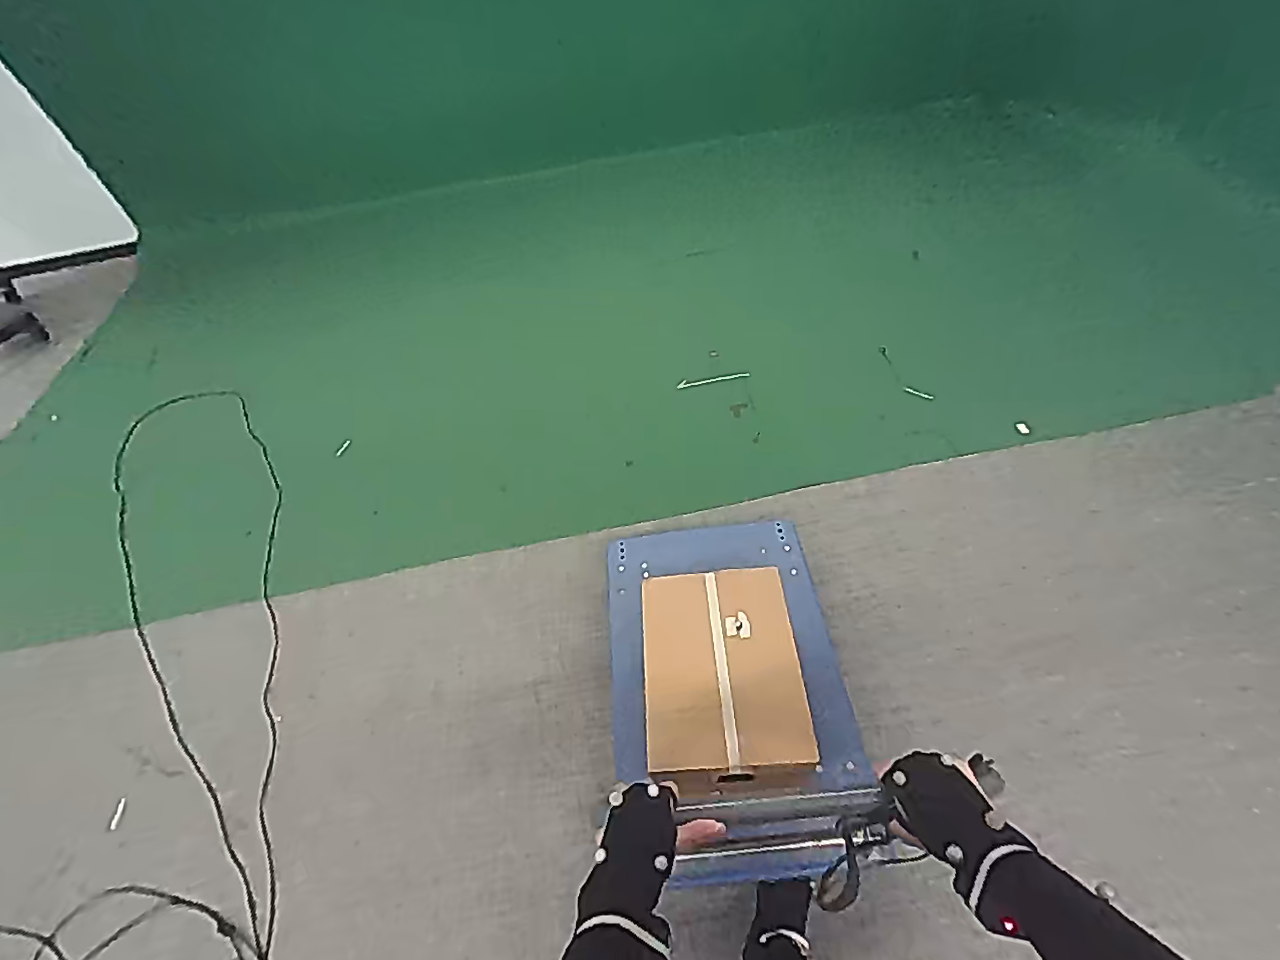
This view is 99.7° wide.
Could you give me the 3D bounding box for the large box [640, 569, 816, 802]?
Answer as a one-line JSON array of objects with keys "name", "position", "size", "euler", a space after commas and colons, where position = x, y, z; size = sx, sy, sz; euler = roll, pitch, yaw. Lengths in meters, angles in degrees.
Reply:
[{"name": "large box", "position": [0.178, 0.464, 1.222], "size": [0.320, 0.320, 0.408], "euler": [-5, 50, 4]}]
